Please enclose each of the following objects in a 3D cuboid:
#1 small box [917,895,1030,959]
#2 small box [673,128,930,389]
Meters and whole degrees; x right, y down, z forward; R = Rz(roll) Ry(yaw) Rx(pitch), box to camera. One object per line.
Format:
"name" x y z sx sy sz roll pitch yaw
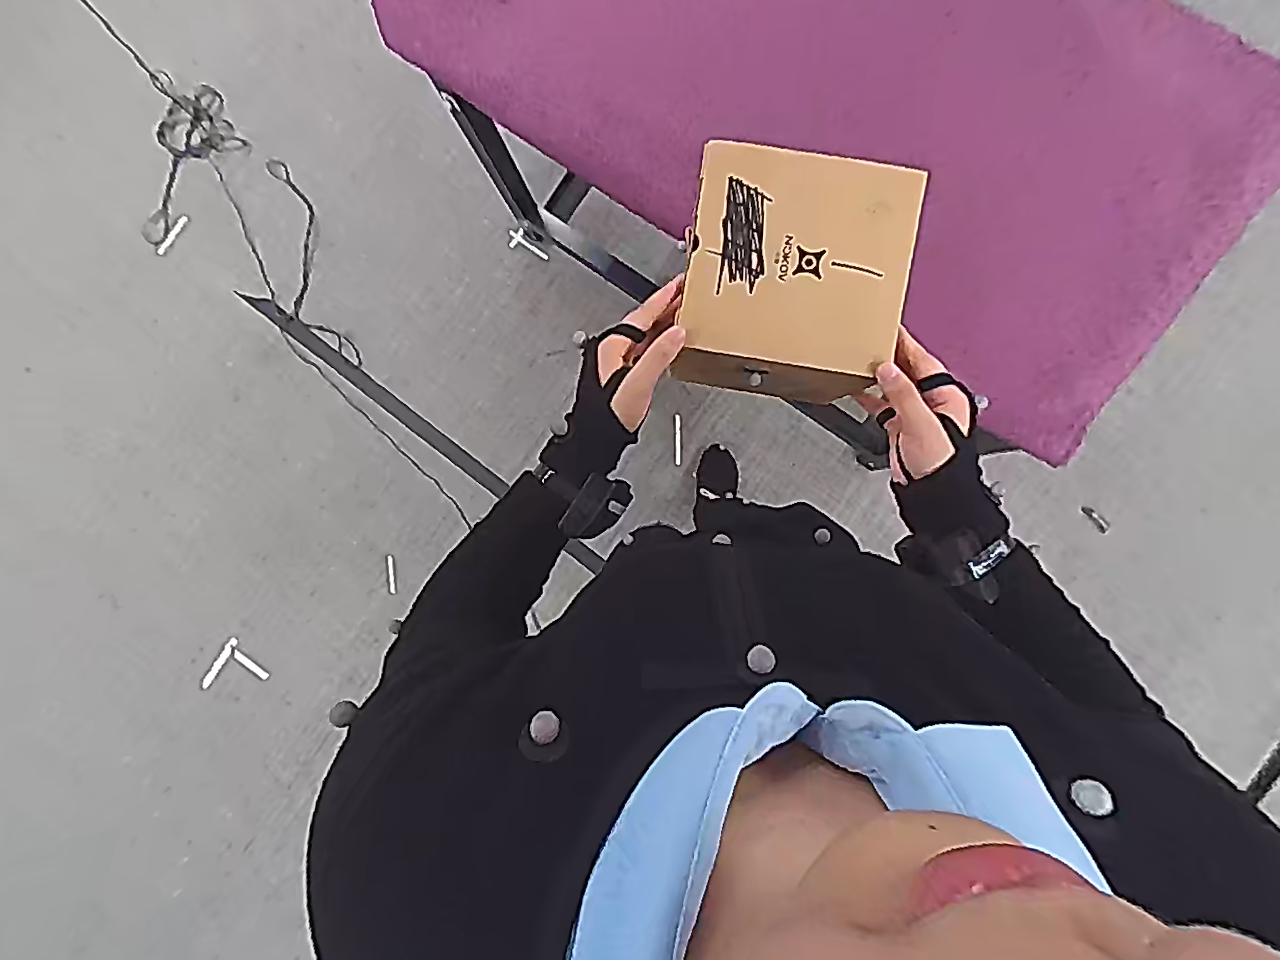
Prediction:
"small box" 0.715 1.041 1.132 0.168 0.176 0.179 32 90 4
"small box" 0.128 -0.184 0.501 0.179 0.176 0.168 9 93 1
